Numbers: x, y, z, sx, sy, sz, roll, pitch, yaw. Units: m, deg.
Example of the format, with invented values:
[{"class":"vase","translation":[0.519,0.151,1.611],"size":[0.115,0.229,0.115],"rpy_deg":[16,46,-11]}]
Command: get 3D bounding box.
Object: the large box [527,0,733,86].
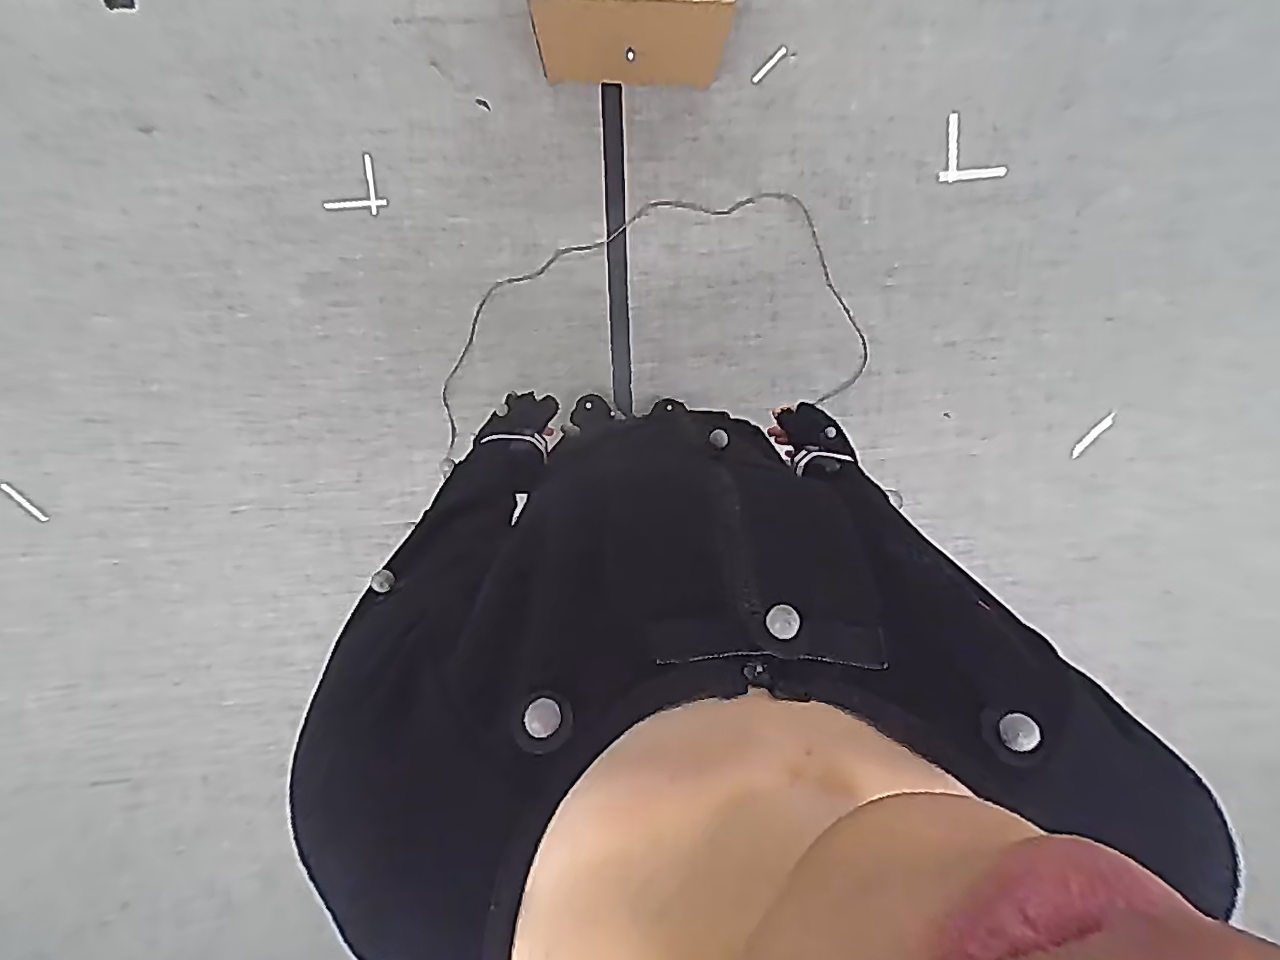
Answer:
[{"class":"large box","translation":[-0.022,-1.091,1.157],"size":[0.408,0.320,0.320],"rpy_deg":[0,99,-2]}]
